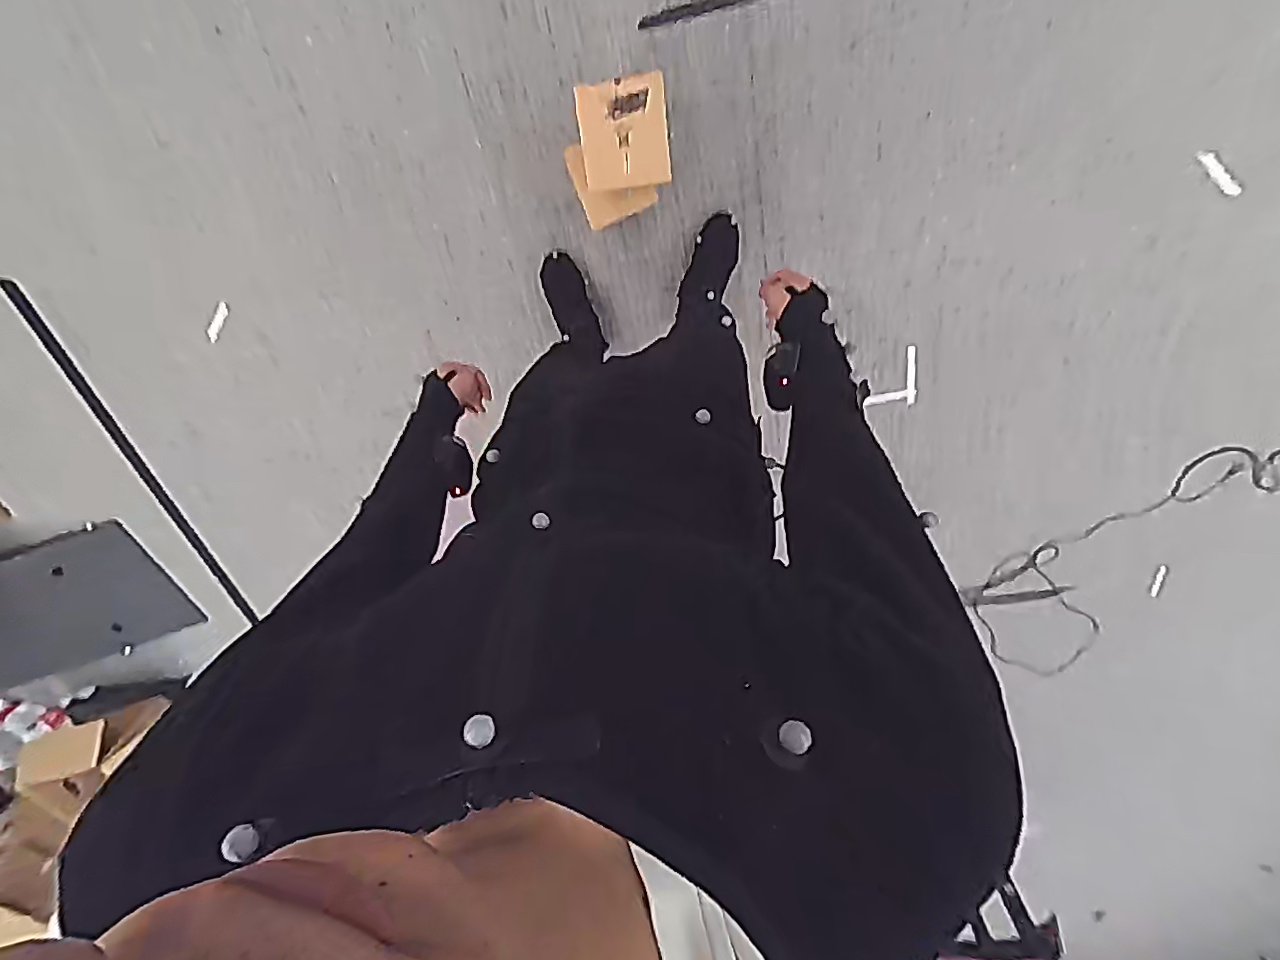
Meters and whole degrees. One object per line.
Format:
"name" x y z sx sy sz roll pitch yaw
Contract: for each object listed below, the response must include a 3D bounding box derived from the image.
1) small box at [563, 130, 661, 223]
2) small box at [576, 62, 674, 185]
"small box" -0.058 -0.713 1.238 0.168 0.176 0.179 -18 118 13
"small box" -0.022 -0.689 1.062 0.168 0.176 0.179 -5 120 6
